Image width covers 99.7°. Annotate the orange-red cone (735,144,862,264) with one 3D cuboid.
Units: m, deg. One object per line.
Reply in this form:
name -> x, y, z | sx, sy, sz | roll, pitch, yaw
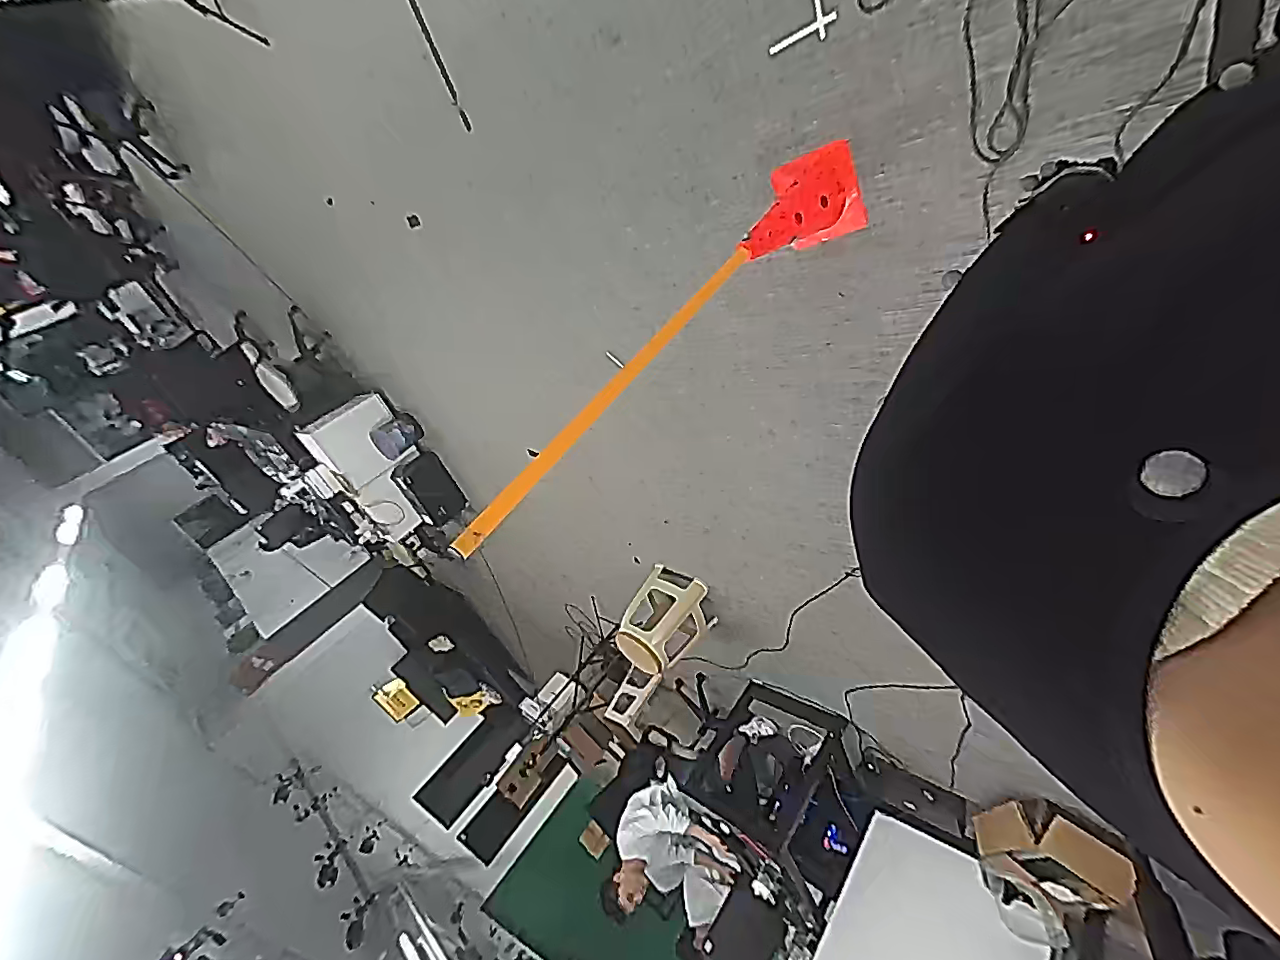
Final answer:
orange-red cone -> 0.315, -0.568, 1.198 | 0.199, 0.360, 0.198 | 2, 128, 47
